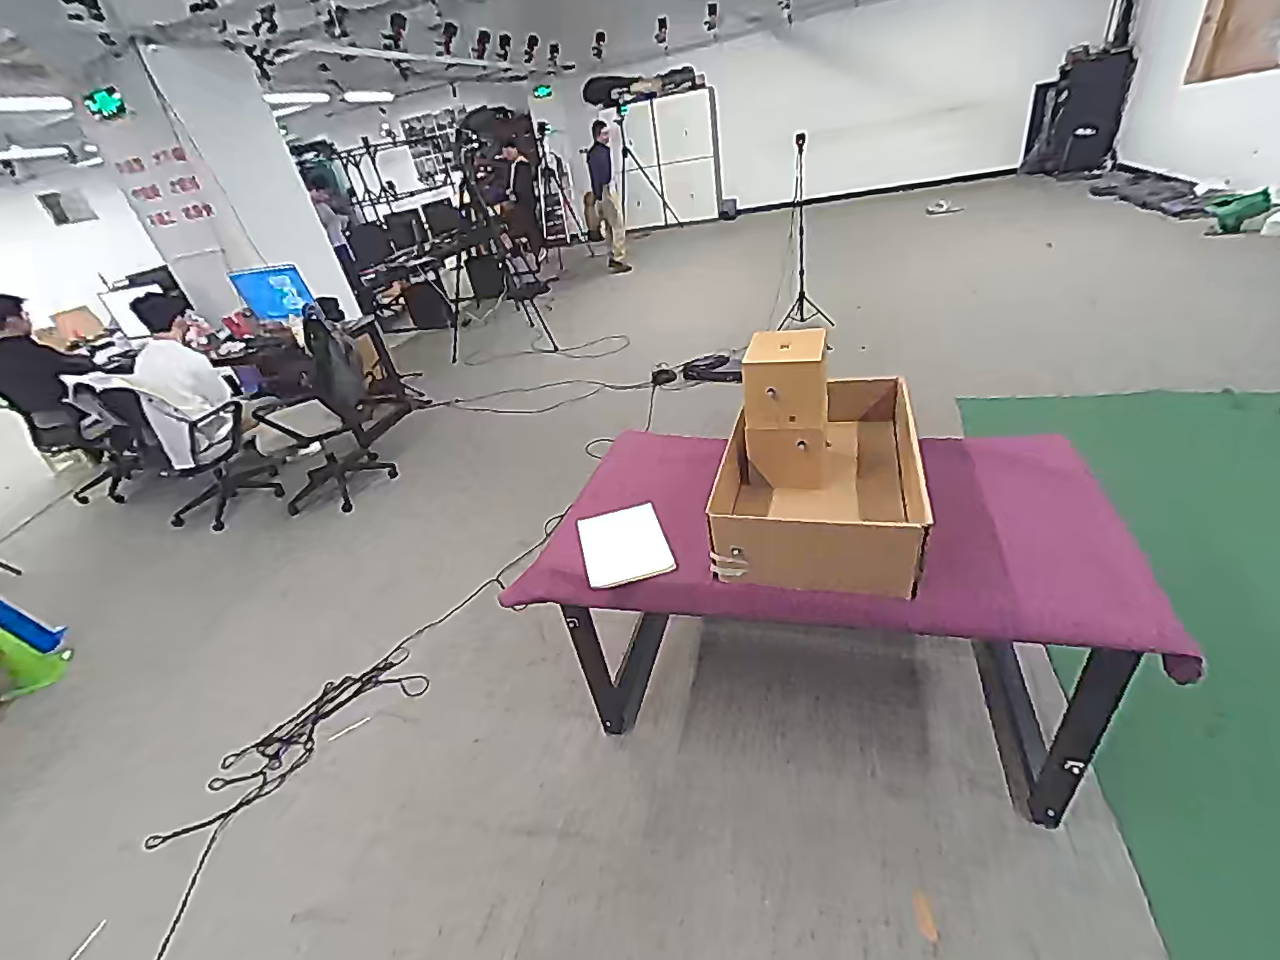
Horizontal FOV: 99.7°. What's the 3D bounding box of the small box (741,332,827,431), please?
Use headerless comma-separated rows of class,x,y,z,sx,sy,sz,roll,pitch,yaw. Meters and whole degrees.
small box,0.335,-0.222,1.238,0.168,0.176,0.179,2,36,22
